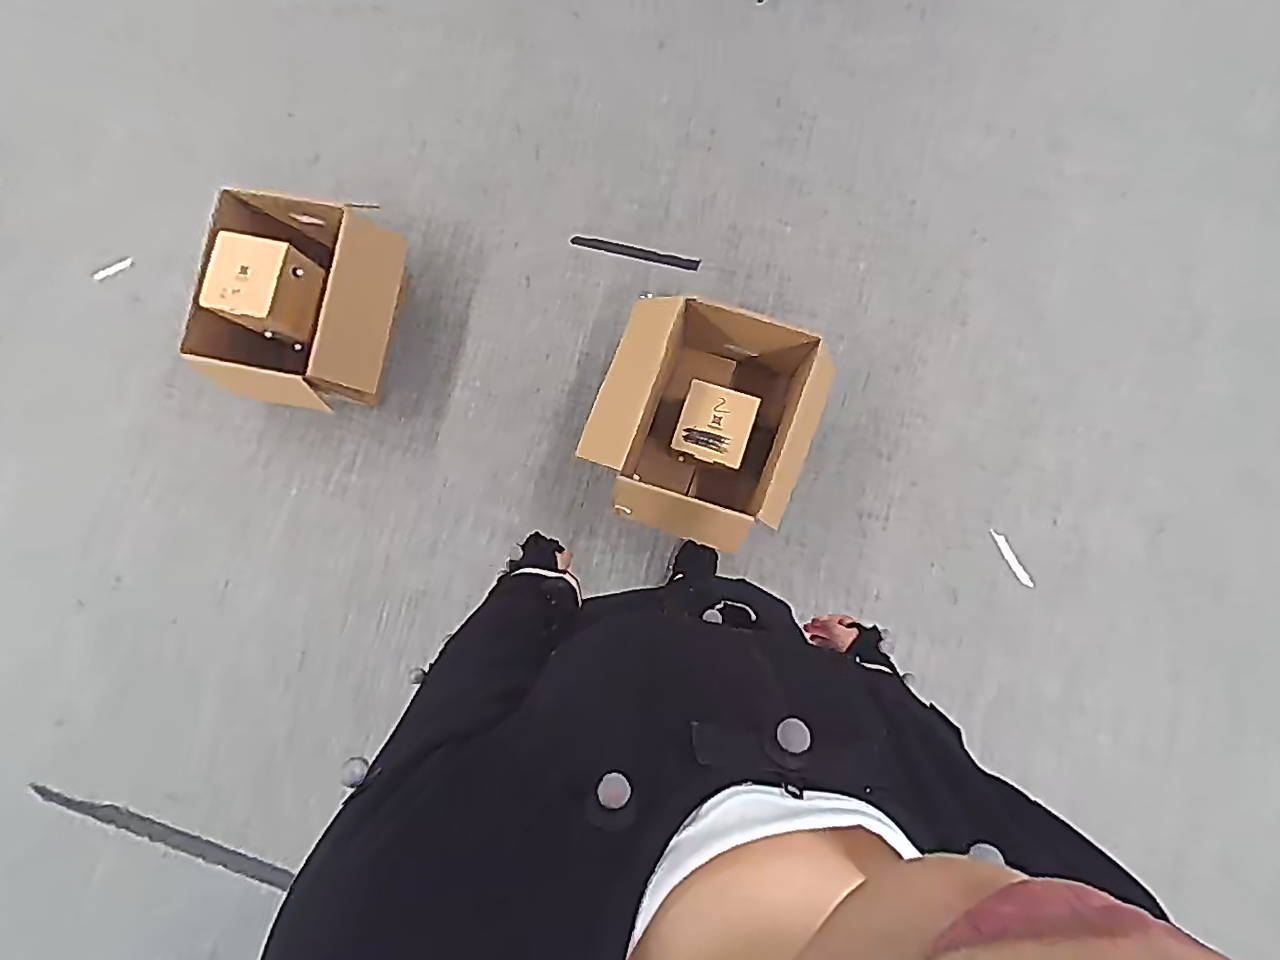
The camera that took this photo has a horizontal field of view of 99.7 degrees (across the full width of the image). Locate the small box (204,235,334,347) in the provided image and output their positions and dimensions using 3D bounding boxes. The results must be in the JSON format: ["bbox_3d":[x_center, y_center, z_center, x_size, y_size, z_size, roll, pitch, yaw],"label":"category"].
[{"bbox_3d":[-0.851,-0.434,1.260,0.168,0.176,0.179,12,86,5],"label":"small box"}]
